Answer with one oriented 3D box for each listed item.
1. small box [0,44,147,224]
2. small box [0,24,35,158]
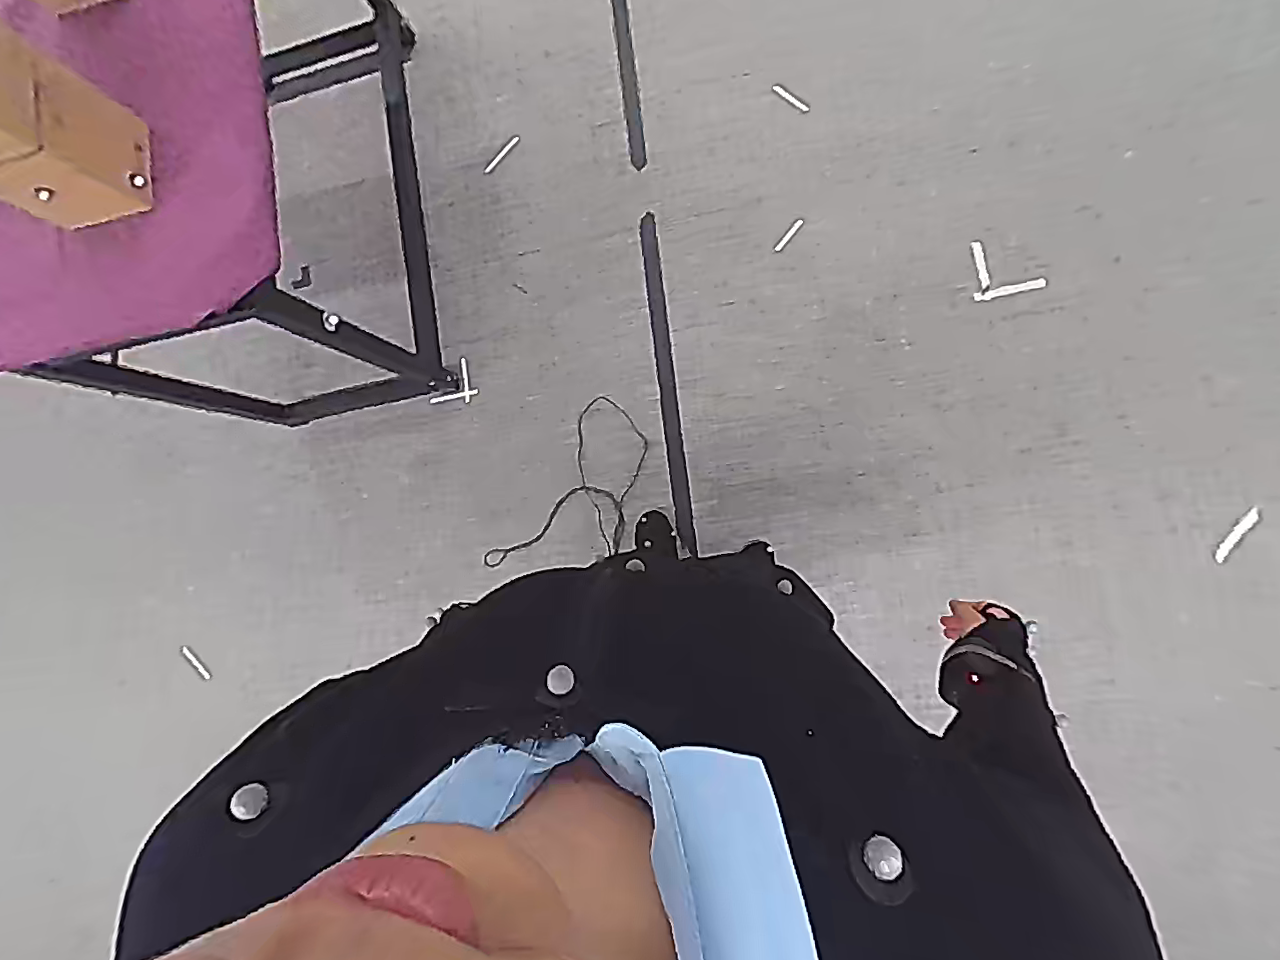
[{"bbox_3d":[-0.959,-0.551,0.885,0.179,0.176,0.168,-8,85,8],"label":"small box"},{"bbox_3d":[-0.974,-0.559,0.721,0.168,0.176,0.179,-9,85,8],"label":"small box"}]
